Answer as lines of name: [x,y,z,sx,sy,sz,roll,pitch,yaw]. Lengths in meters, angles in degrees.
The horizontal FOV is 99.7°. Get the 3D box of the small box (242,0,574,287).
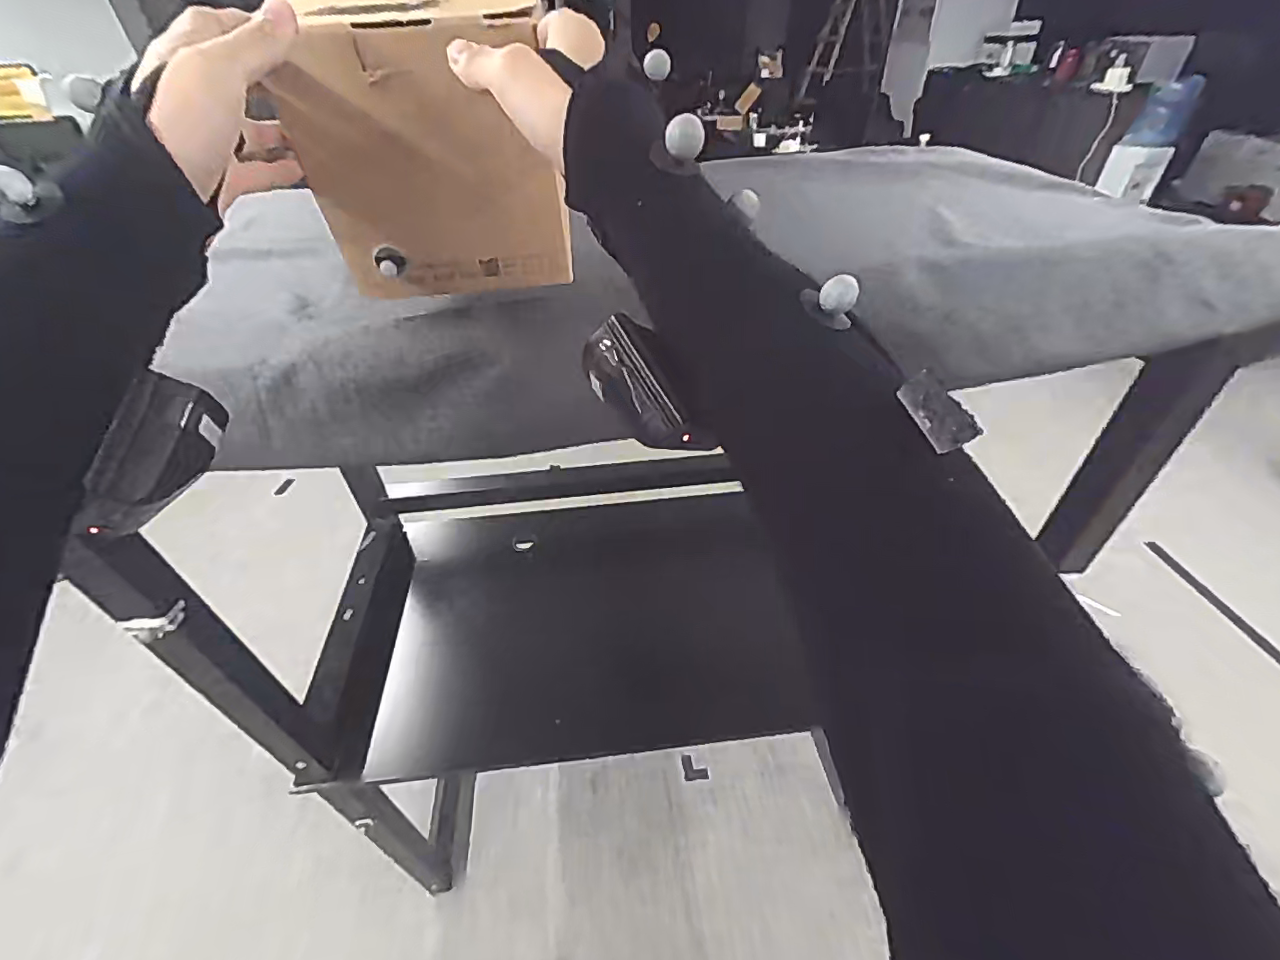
small box: [-0.142,-0.261,0.409,0.168,0.176,0.179,-6,50,-3]
